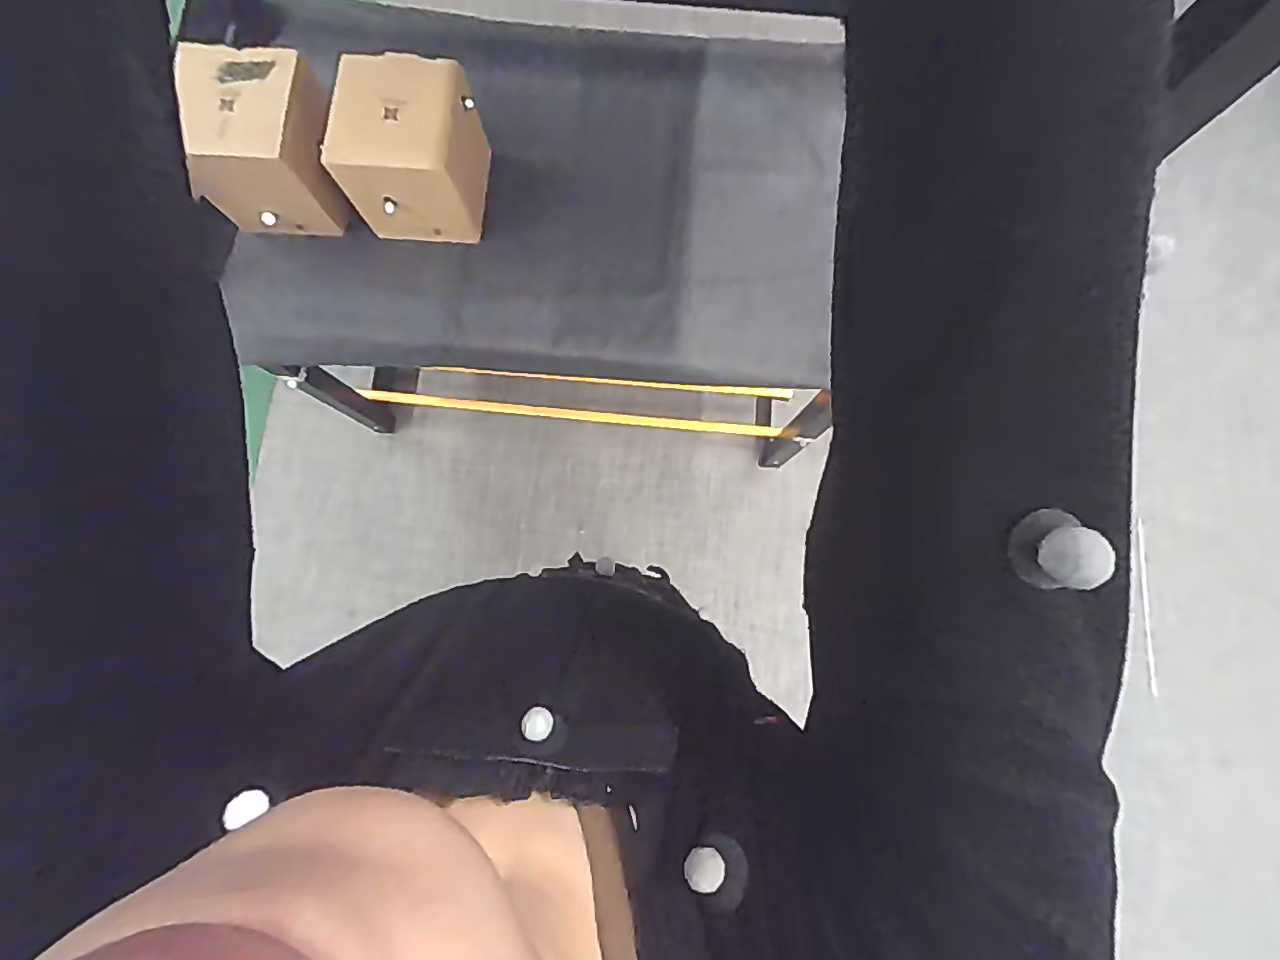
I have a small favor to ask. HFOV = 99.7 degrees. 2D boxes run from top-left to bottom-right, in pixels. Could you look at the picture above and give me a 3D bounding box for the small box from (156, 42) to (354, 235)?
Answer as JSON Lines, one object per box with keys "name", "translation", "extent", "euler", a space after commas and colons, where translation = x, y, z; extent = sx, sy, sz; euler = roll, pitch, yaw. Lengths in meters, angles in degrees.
{"name": "small box", "translation": [-0.554, -0.498, 0.806], "extent": [0.168, 0.176, 0.179], "euler": [3, 80, 0]}
